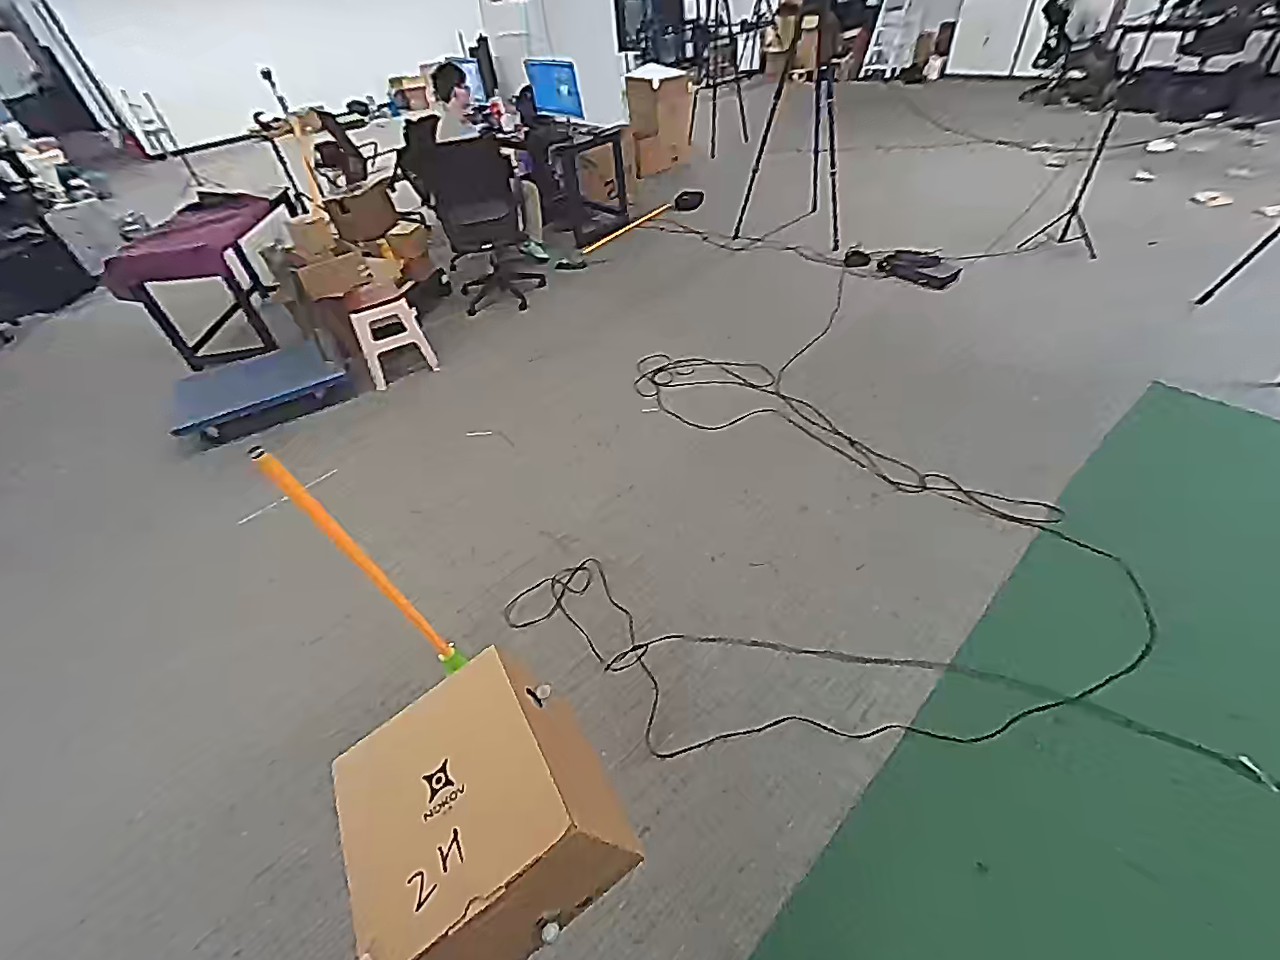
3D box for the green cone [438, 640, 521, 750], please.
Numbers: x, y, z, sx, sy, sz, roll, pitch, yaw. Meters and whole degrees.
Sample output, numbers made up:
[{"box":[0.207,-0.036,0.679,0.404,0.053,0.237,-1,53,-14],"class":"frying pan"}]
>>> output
[{"box":[-0.508,0.579,1.560,0.202,0.368,0.200,-34,50,-27],"class":"green cone"}]
